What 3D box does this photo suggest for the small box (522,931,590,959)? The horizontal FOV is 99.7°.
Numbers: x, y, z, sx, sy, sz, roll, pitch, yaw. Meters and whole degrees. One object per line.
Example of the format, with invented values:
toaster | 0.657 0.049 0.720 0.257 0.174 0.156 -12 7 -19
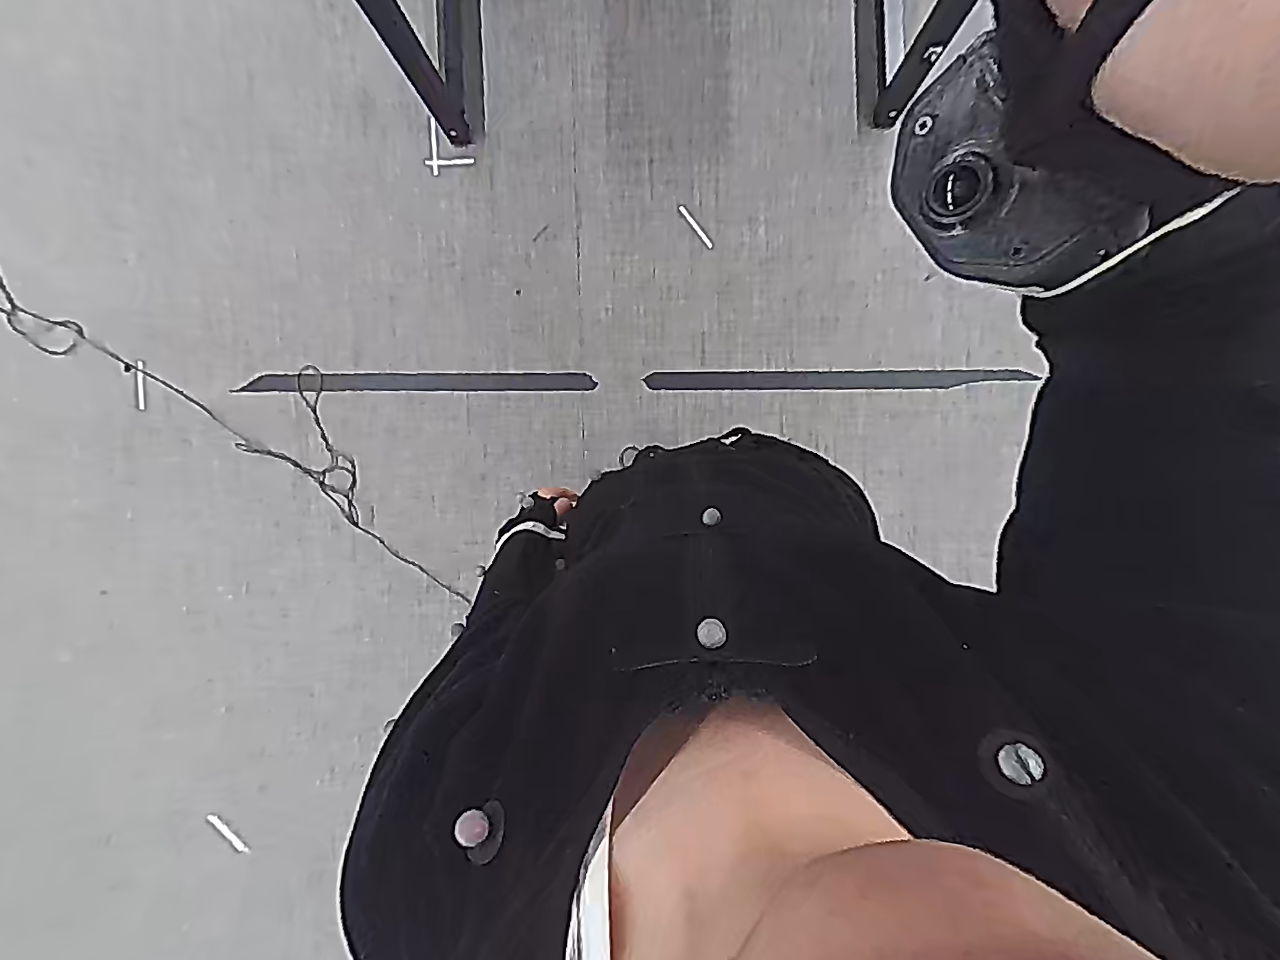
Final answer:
small box | -0.230 1.370 1.458 0.179 0.176 0.168 -8 93 2
